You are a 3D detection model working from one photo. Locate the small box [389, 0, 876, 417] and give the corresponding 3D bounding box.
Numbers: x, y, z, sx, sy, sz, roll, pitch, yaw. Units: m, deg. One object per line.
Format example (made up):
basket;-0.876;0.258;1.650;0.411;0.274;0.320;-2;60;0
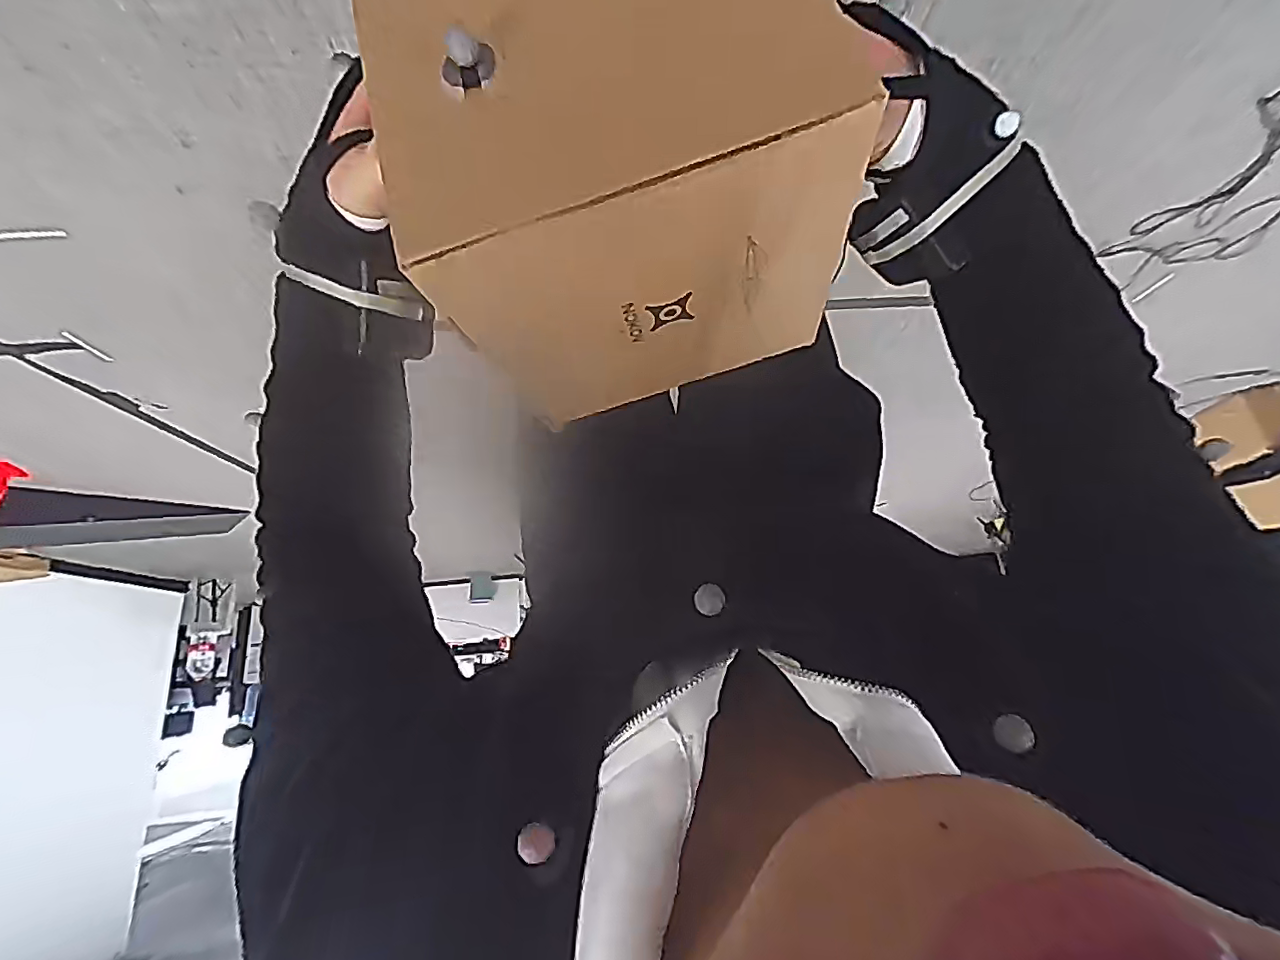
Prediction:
small box;-0.011;-0.161;0.289;0.179;0.176;0.168;-18;163;4
